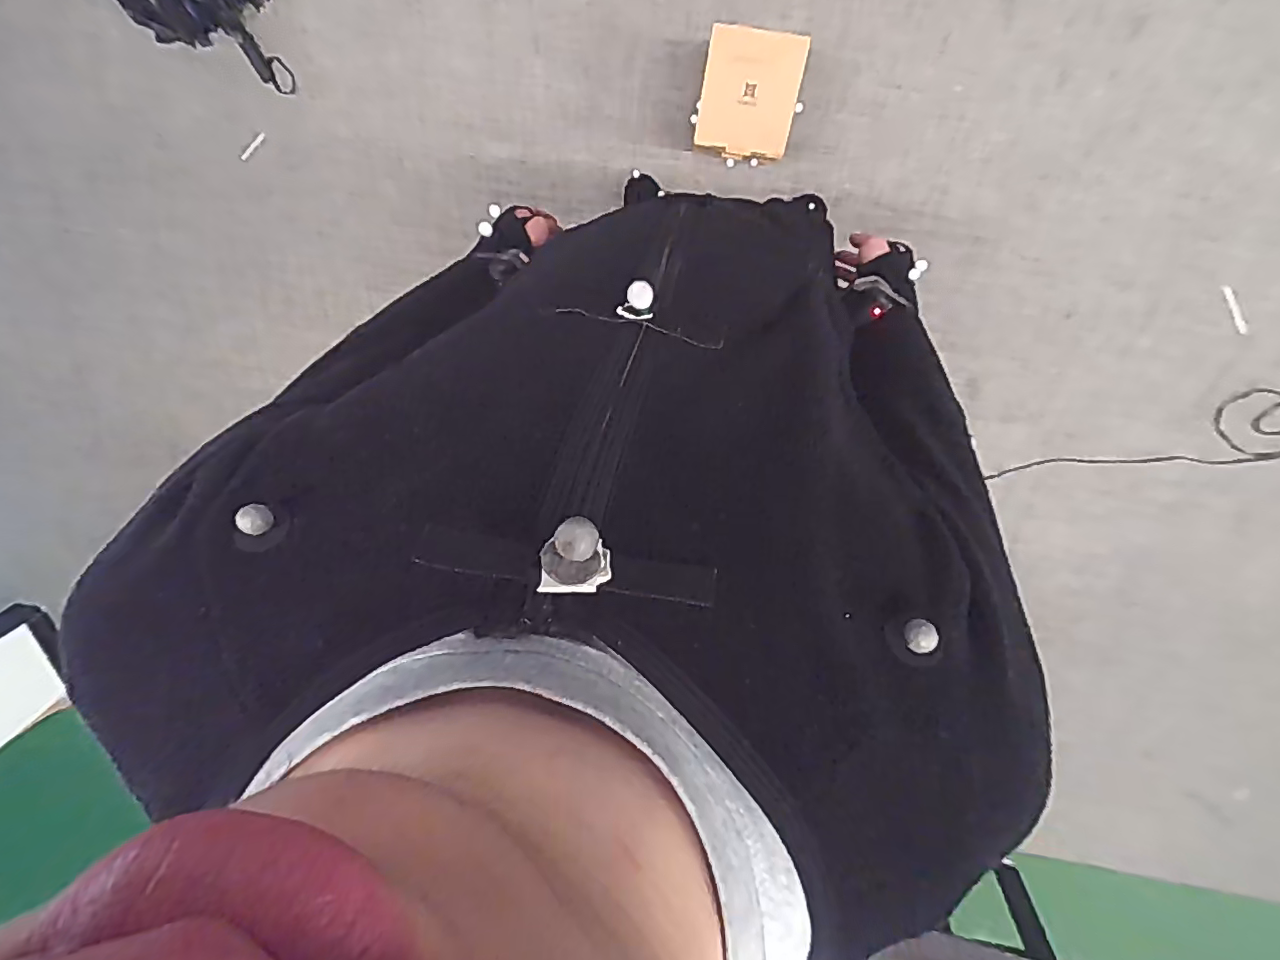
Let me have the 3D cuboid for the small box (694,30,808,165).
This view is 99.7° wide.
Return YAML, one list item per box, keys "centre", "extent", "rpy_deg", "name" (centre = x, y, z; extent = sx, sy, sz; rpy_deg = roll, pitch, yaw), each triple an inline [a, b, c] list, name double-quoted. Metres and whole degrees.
- centre: [0.200, -0.700, 1.009]
  extent: [0.168, 0.176, 0.179]
  rpy_deg: [10, 119, 2]
  name: "small box"
